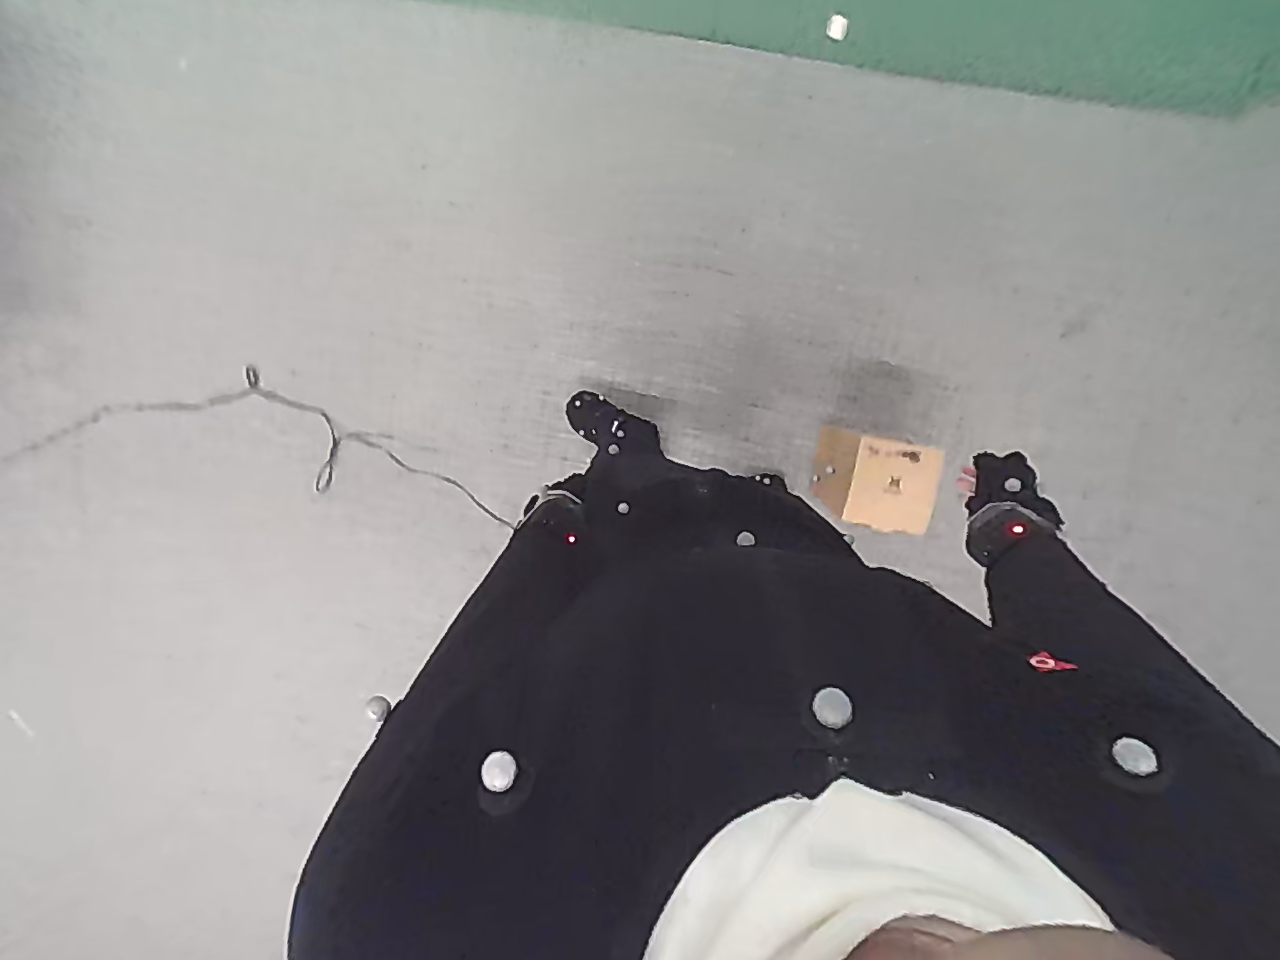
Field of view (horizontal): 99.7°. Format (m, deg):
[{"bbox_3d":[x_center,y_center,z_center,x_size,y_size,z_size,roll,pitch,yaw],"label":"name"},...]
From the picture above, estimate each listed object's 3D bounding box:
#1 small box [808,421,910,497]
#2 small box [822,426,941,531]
[{"bbox_3d":[0.519,-0.041,1.308,0.168,0.176,0.179,12,98,2],"label":"small box"},{"bbox_3d":[0.499,-0.010,1.149,0.168,0.176,0.179,12,101,3],"label":"small box"}]
